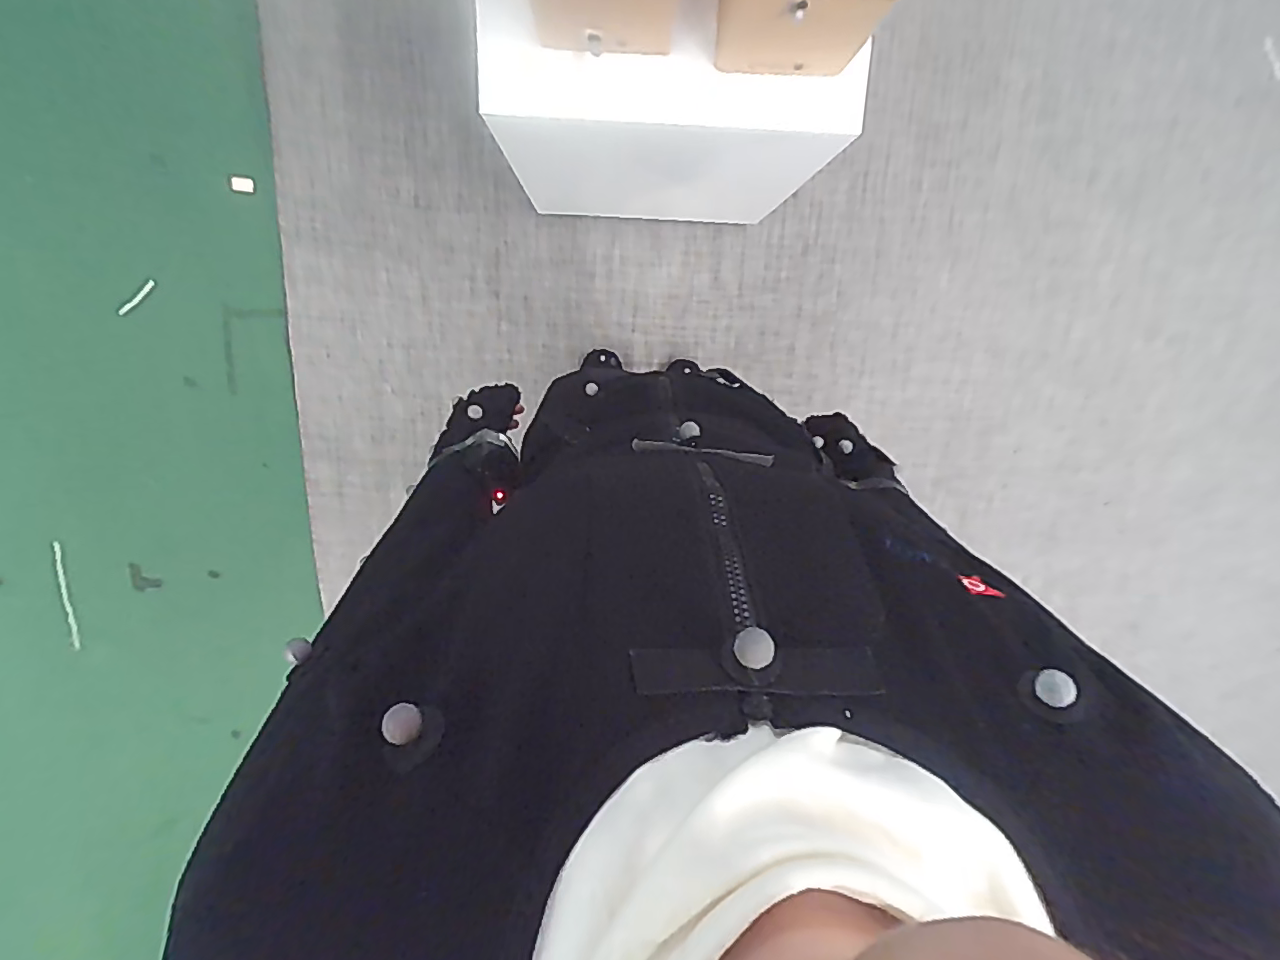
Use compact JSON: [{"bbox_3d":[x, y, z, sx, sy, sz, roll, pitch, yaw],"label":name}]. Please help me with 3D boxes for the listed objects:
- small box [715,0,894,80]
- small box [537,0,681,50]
[{"bbox_3d":[0.183,-0.597,0.609,0.168,0.176,0.179,1,102,-3],"label":"small box"},{"bbox_3d":[-0.036,-0.611,0.583,0.168,0.176,0.179,0,105,-2],"label":"small box"}]
